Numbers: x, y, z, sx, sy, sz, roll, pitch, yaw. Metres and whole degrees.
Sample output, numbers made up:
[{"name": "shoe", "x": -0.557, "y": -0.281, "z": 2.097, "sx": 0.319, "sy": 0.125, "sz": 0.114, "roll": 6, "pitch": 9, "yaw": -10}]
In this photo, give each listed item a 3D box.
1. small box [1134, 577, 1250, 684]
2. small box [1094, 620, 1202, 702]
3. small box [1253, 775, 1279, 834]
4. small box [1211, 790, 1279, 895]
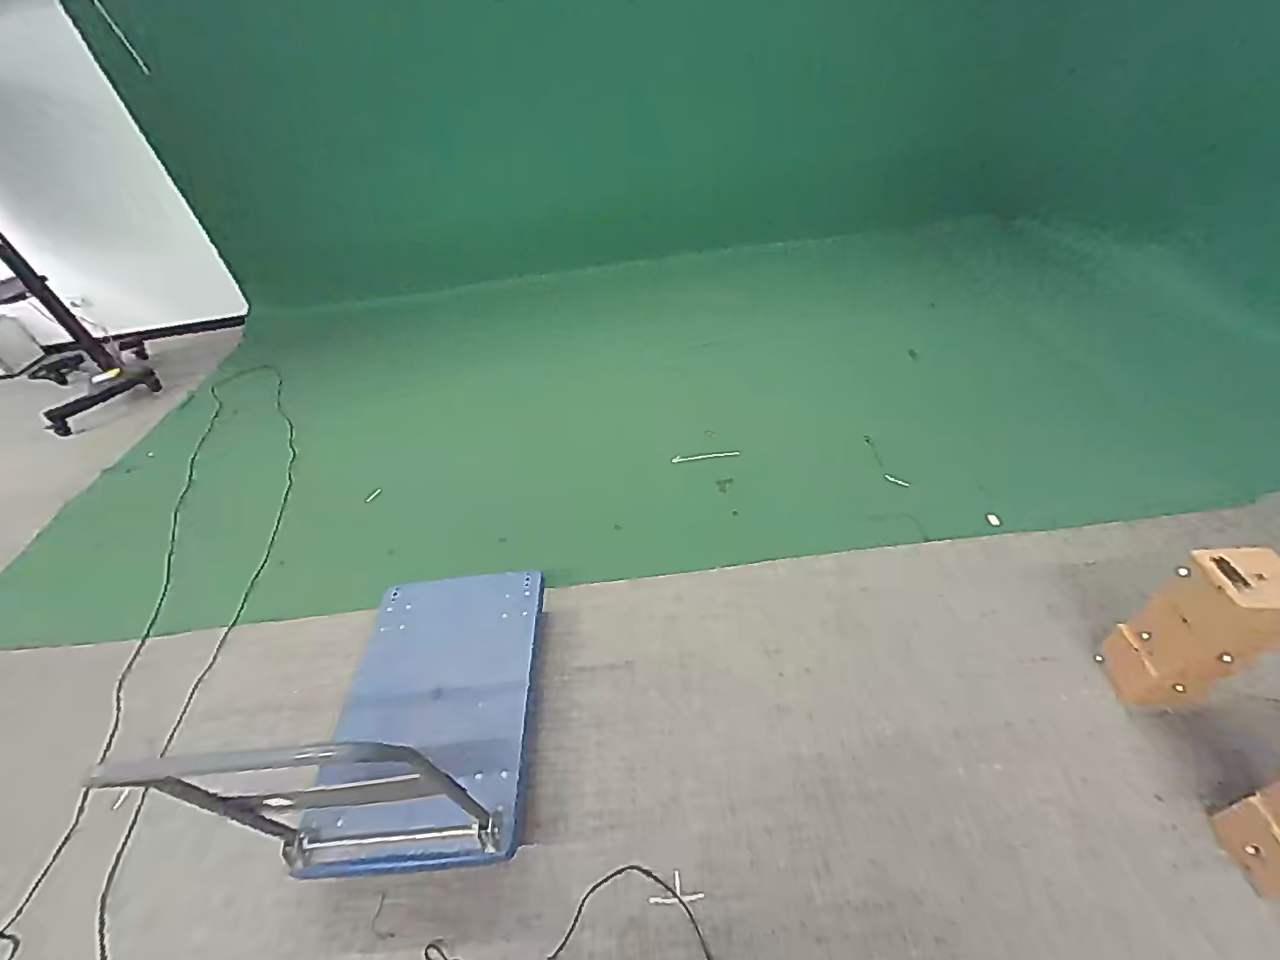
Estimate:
[{"name": "small box", "x": 1.438, "y": 0.395, "z": 1.421, "sx": 0.168, "sy": 0.176, "sz": 0.179, "roll": 19, "pitch": 49, "yaw": 30}, {"name": "small box", "x": 1.437, "y": 0.511, "z": 1.525, "sx": 0.179, "sy": 0.176, "sz": 0.168, "roll": -3, "pitch": 43, "yaw": 6}, {"name": "small box", "x": 1.437, "y": 0.684, "z": 1.090, "sx": 0.179, "sy": 0.176, "sz": 0.168, "roll": -2, "pitch": 42, "yaw": 7}, {"name": "small box", "x": 1.446, "y": 0.806, "z": 1.202, "sx": 0.179, "sy": 0.176, "sz": 0.168, "roll": -6, "pitch": 43, "yaw": 5}]
